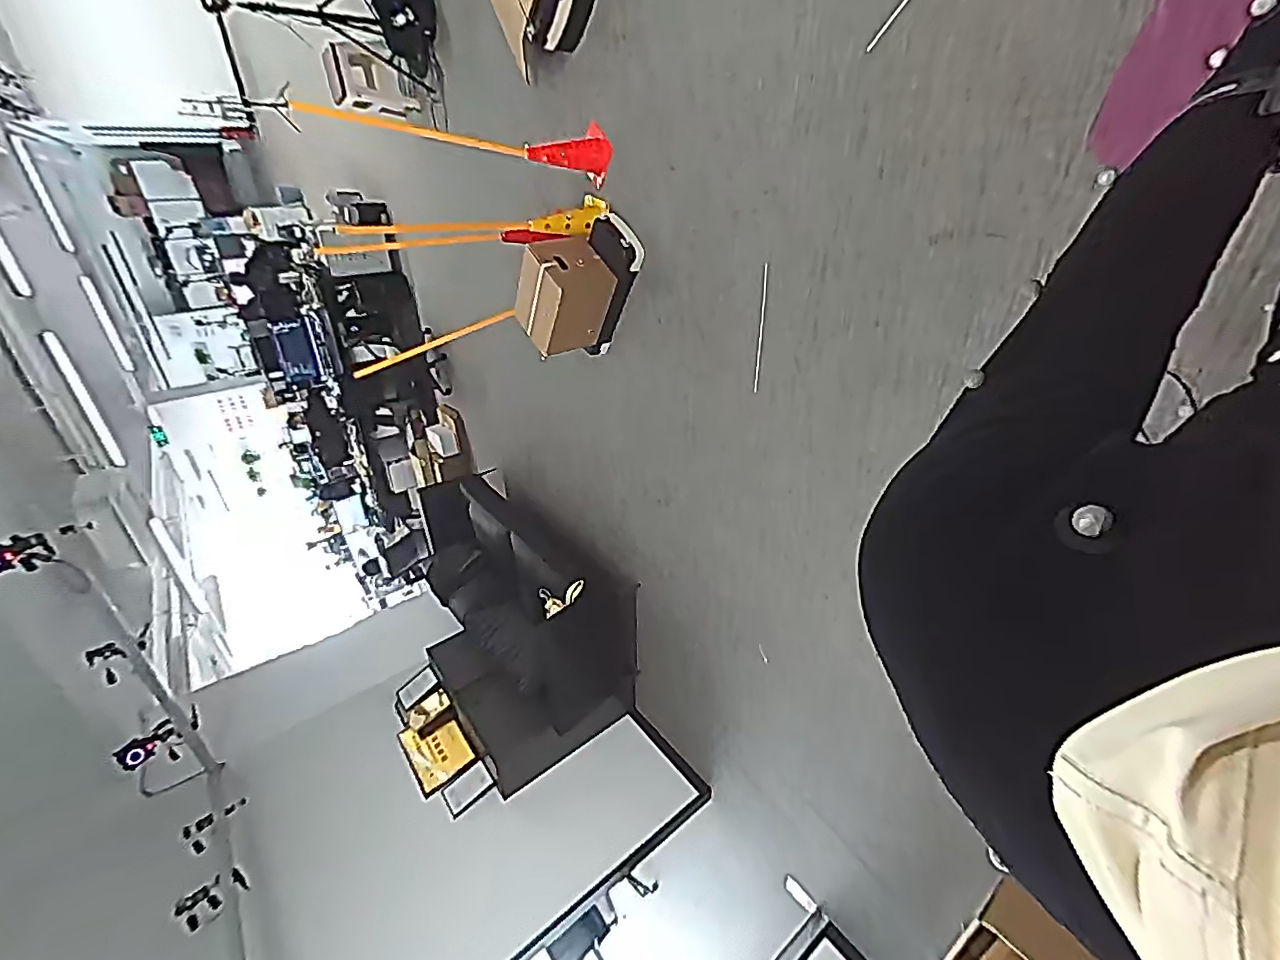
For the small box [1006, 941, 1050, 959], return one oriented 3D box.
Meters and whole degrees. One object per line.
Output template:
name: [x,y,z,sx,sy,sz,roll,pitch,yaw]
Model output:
small box: [1.020,1.360,1.395,0.168,0.176,0.179,34,134,42]
